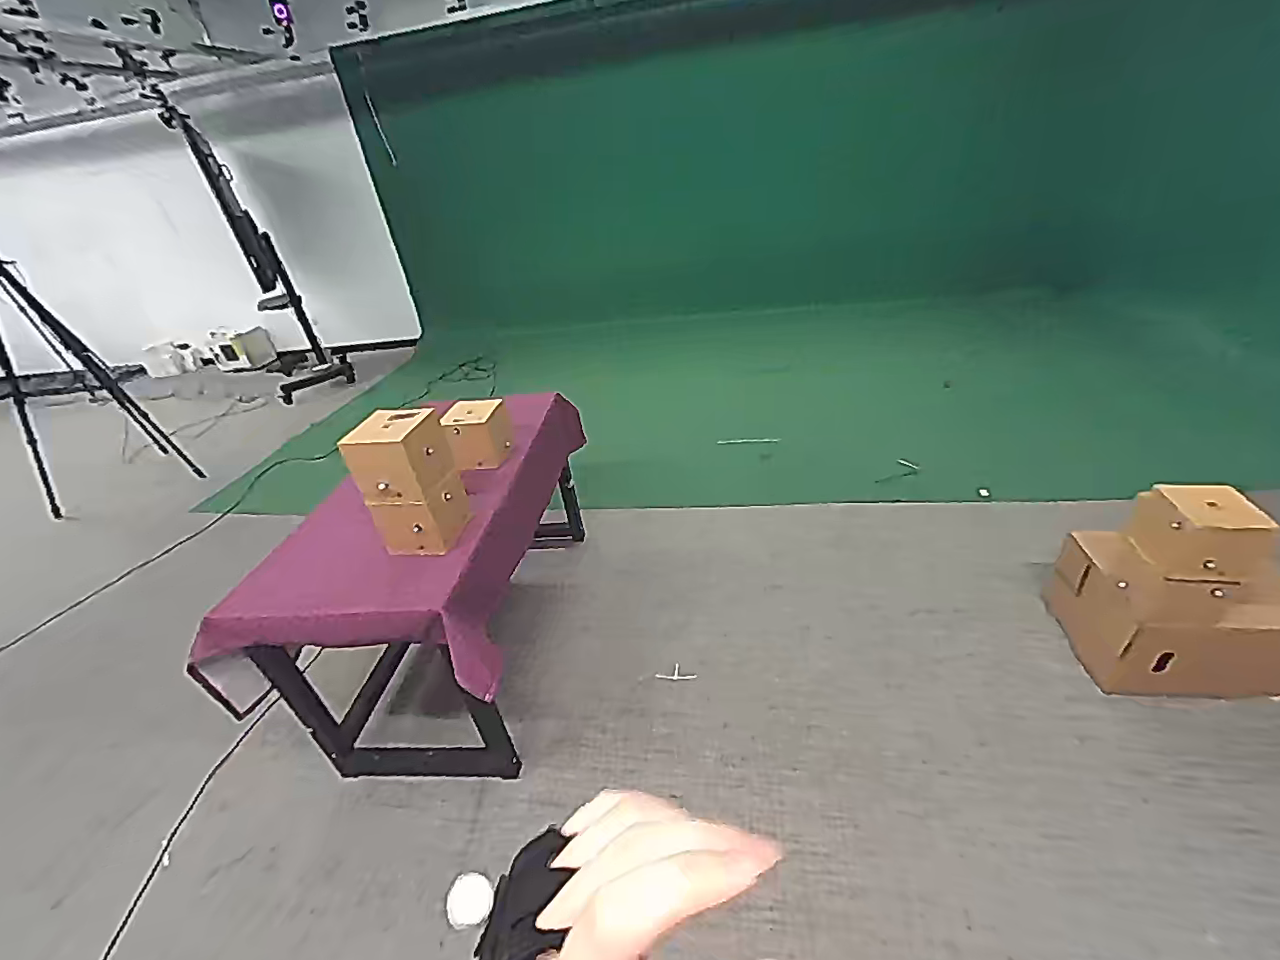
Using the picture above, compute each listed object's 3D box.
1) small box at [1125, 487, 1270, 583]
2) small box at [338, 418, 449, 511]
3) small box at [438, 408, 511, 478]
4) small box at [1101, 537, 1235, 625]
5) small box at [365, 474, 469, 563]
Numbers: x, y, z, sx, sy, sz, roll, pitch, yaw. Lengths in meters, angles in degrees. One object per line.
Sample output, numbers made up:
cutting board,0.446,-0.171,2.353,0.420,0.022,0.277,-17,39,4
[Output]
small box,1.382,0.134,1.360,0.168,0.176,0.179,0,34,12
small box,-0.596,-0.039,1.337,0.168,0.176,0.179,-2,33,10
small box,-0.537,-0.121,1.772,0.168,0.176,0.179,-3,31,10
small box,1.399,0.270,1.449,0.179,0.176,0.168,0,32,12
small box,-0.572,0.103,1.417,0.168,0.176,0.179,-2,31,11
